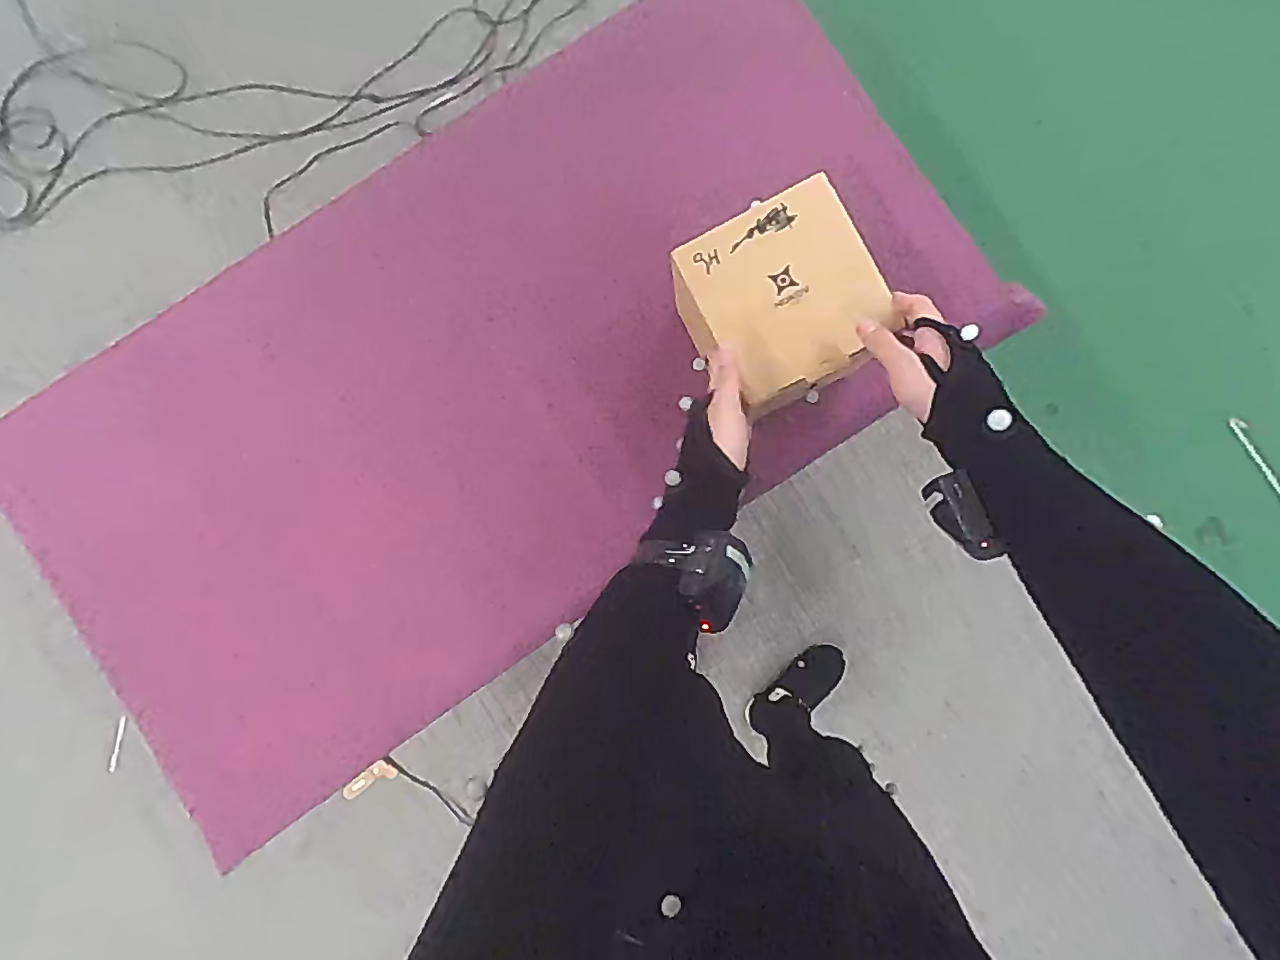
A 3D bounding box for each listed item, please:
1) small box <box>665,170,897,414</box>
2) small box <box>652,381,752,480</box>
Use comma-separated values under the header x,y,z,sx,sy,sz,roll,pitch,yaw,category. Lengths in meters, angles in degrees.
x,y,z,sx,sy,sz,roll,pitch,yaw,category
0.143,-0.182,0.591,0.168,0.176,0.179,-25,86,7,small box
0.147,-0.113,1.324,0.179,0.176,0.168,-37,88,-1,small box
